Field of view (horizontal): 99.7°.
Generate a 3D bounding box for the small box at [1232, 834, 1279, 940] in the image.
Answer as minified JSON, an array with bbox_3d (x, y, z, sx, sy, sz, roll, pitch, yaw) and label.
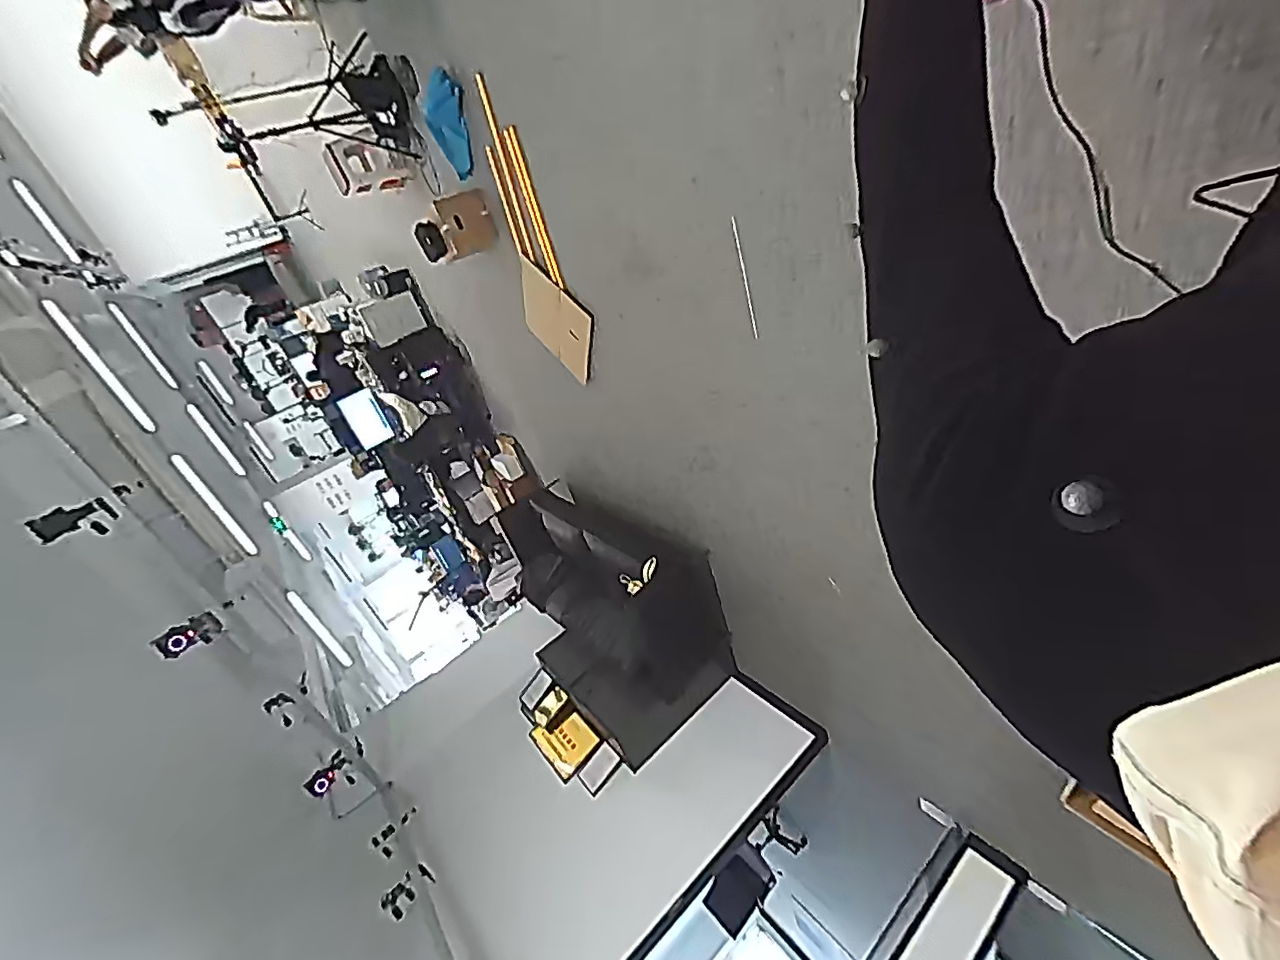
[{"bbox_3d":[1.553,0.979,1.255,0.179,0.176,0.168,31,145,42],"label":"small box"}]
